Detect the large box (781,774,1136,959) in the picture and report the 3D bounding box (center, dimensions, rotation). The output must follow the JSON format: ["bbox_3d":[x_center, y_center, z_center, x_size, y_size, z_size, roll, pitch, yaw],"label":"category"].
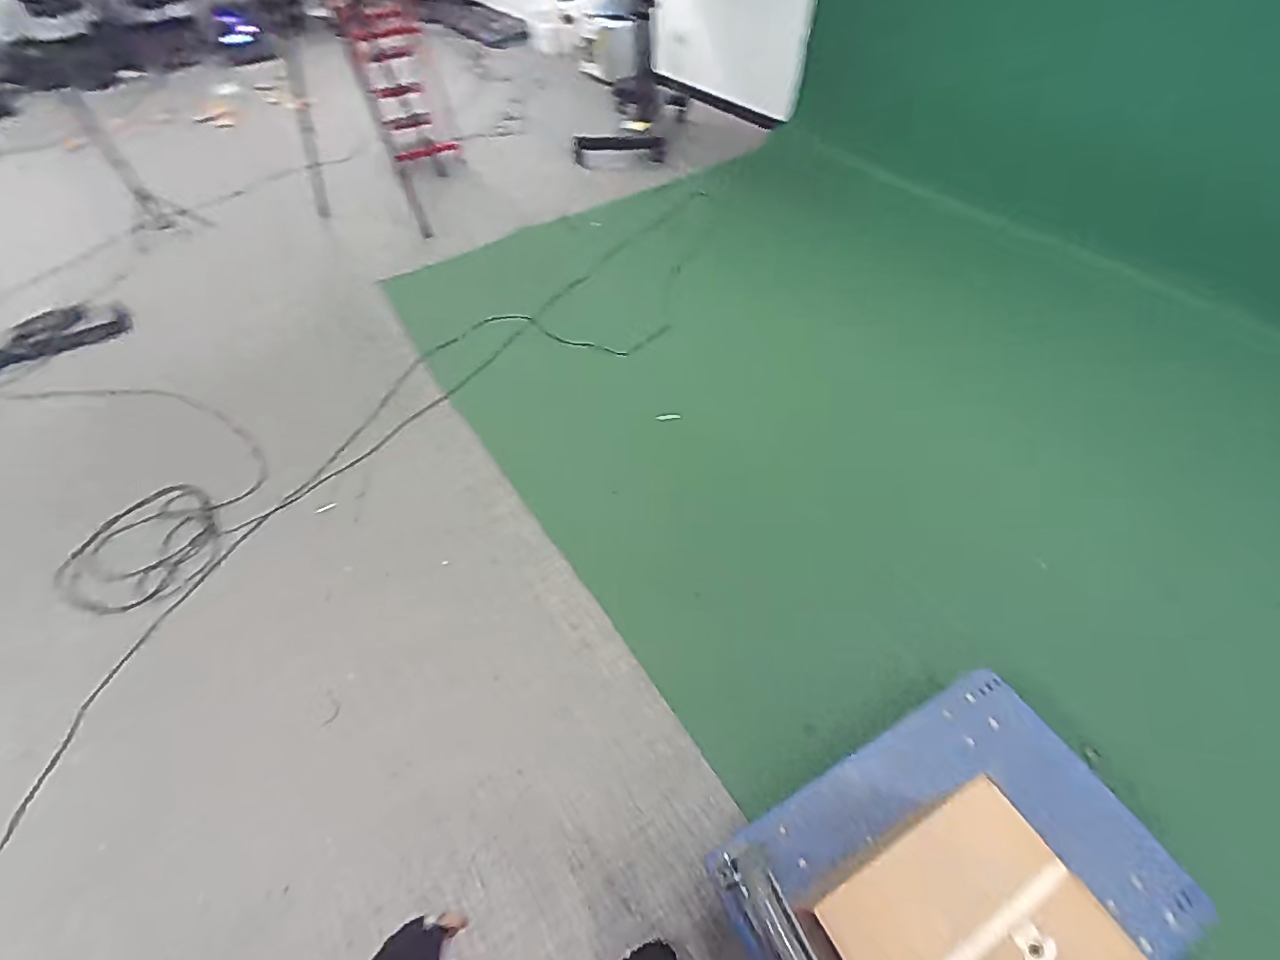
[{"bbox_3d":[0.525,0.814,0.968,0.408,0.320,0.320,-24,55,-16],"label":"large box"}]
